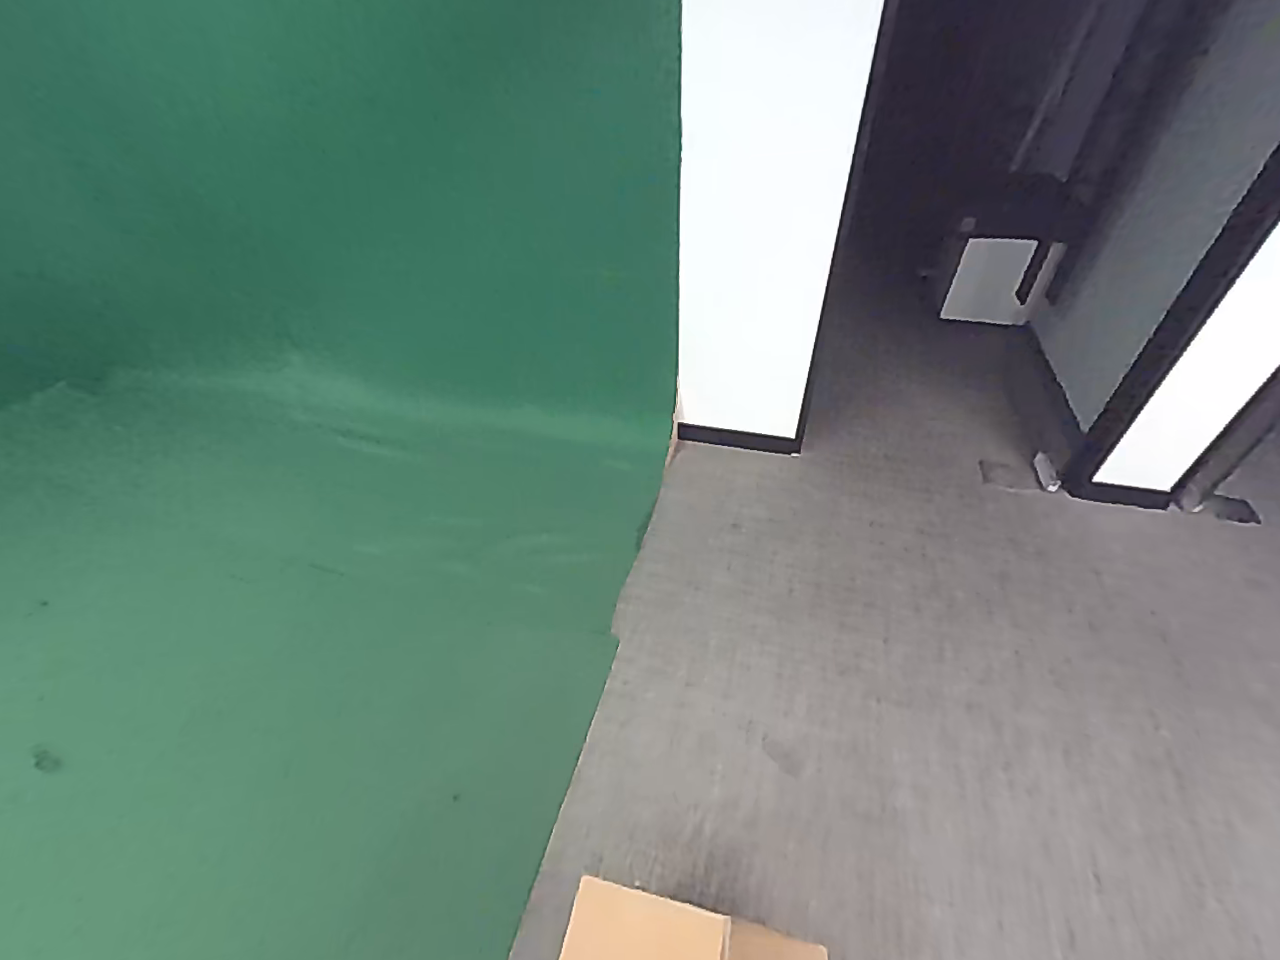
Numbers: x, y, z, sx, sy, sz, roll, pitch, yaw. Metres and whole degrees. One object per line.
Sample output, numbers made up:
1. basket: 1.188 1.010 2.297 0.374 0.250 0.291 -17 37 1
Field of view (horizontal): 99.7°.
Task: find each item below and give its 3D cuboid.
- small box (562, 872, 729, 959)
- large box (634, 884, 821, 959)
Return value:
1. small box: 0.002 0.575 0.596 0.168 0.176 0.179 6 45 14
2. large box: 0.089 0.924 0.813 0.320 0.320 0.408 8 43 13
